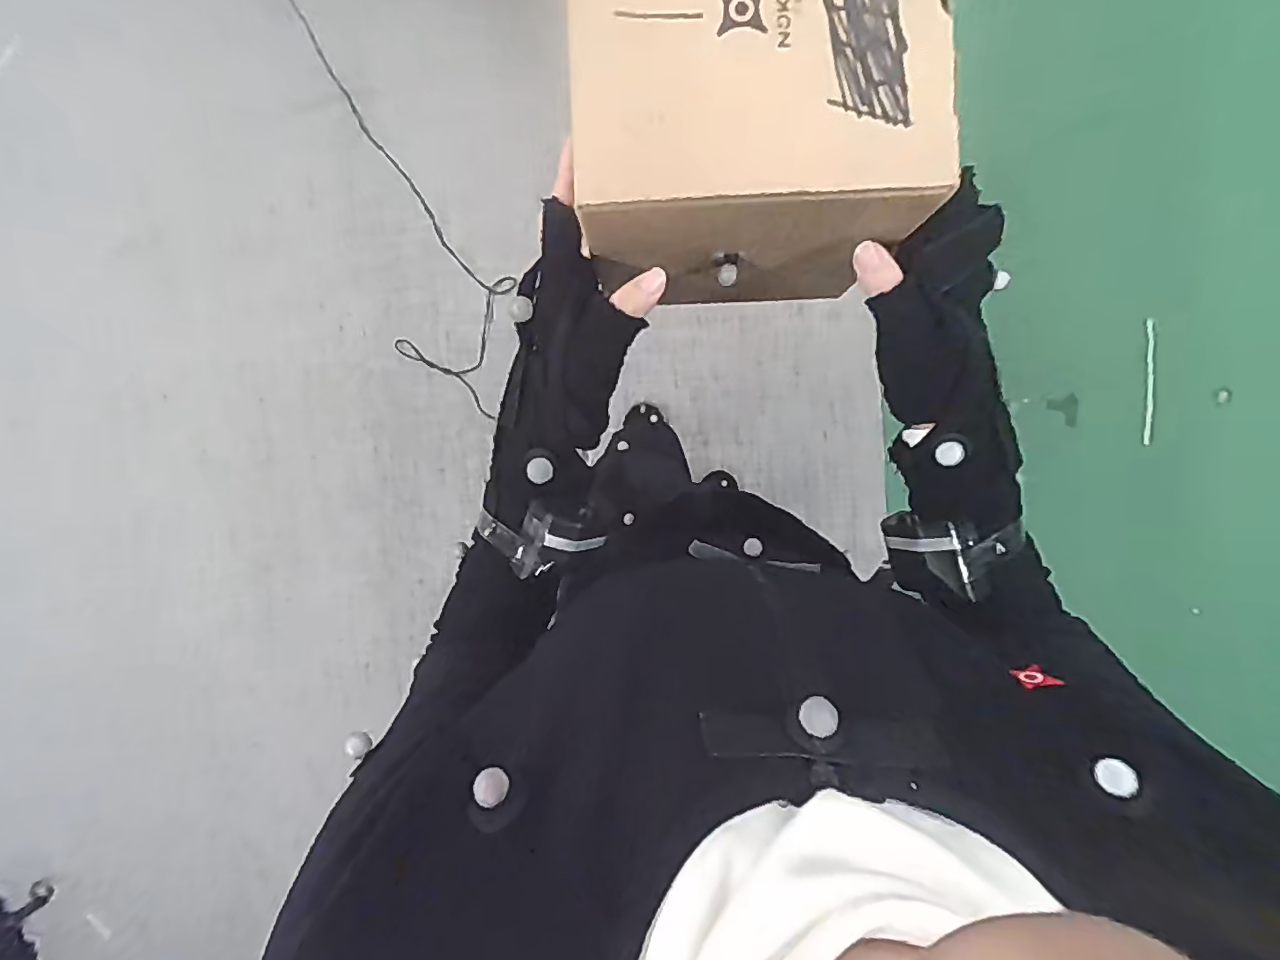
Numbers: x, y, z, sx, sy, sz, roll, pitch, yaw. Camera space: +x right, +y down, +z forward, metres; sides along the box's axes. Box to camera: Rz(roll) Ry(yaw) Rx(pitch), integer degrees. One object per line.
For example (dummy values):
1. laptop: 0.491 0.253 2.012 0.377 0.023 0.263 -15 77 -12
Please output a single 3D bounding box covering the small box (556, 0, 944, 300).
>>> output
1. small box: 0.051 -0.215 0.323 0.179 0.176 0.168 -1 90 3
